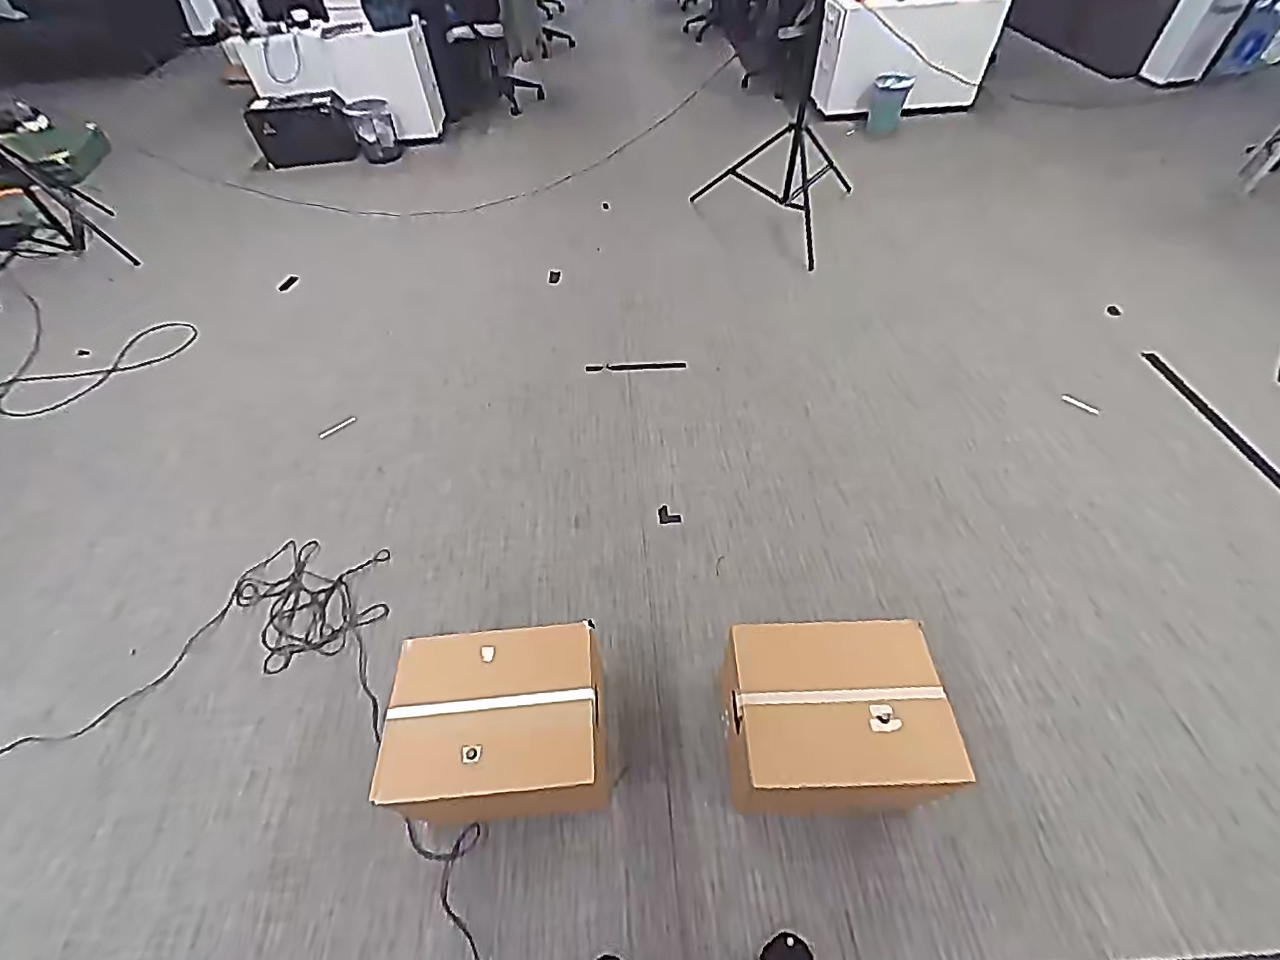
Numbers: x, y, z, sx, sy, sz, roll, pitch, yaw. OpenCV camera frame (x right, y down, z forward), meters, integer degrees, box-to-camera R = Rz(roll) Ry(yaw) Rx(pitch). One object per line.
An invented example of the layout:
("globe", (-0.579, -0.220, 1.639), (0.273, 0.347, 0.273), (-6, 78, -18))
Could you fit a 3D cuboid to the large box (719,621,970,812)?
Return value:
("large box", (0.404, 0.524, 1.192), (0.408, 0.320, 0.320), (-1, 52, 0))
